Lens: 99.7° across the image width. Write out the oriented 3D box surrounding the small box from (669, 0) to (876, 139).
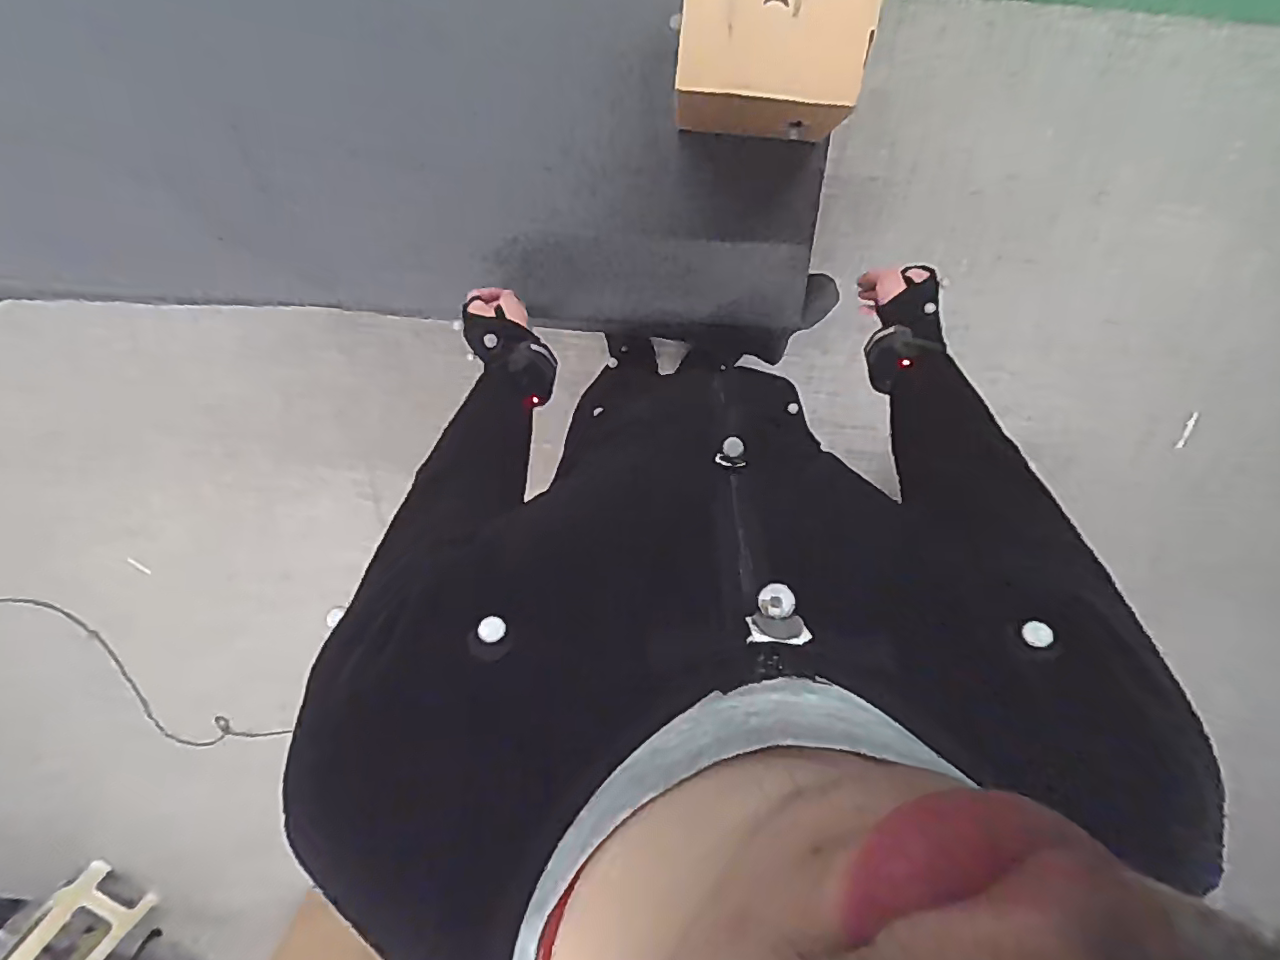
[{"bbox_3d":[0.126,-0.460,0.547,0.179,0.176,0.168,7,112,3],"label":"small box"}]
